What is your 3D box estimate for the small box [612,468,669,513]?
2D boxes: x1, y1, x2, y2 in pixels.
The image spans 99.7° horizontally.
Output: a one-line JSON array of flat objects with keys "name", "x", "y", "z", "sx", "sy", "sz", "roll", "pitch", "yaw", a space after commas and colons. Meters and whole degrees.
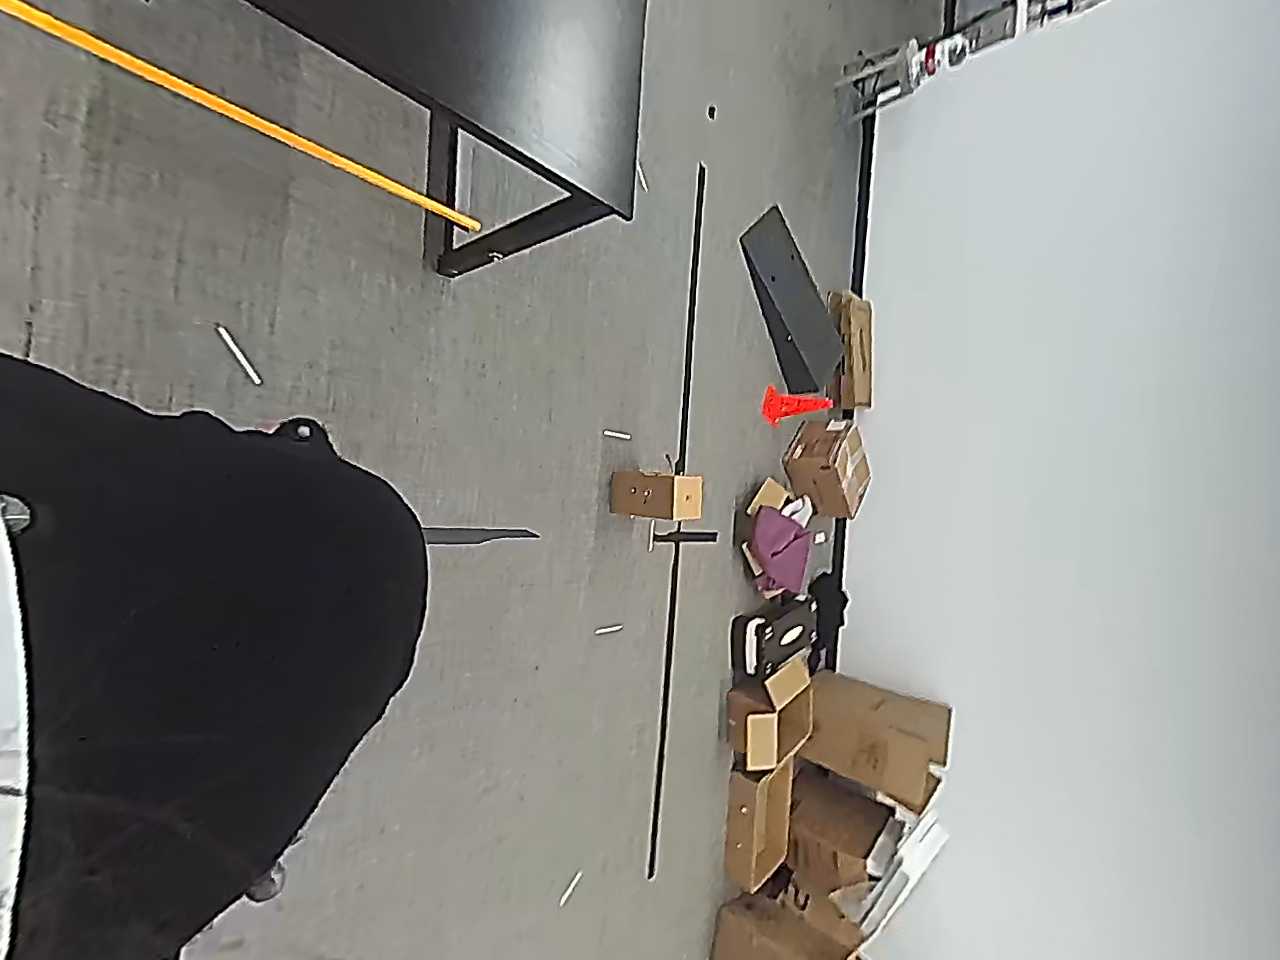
[{"name": "small box", "x": 0.001, "y": 0.044, "z": 2.189, "sx": 0.168, "sy": 0.176, "sz": 0.179, "roll": 3, "pitch": 91, "yaw": -48}]

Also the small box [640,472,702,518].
[{"name": "small box", "x": 0.120, "y": 0.055, "z": 2.079, "sx": 0.179, "sy": 0.176, "sz": 0.168, "roll": -1, "pitch": 92, "yaw": -47}]
